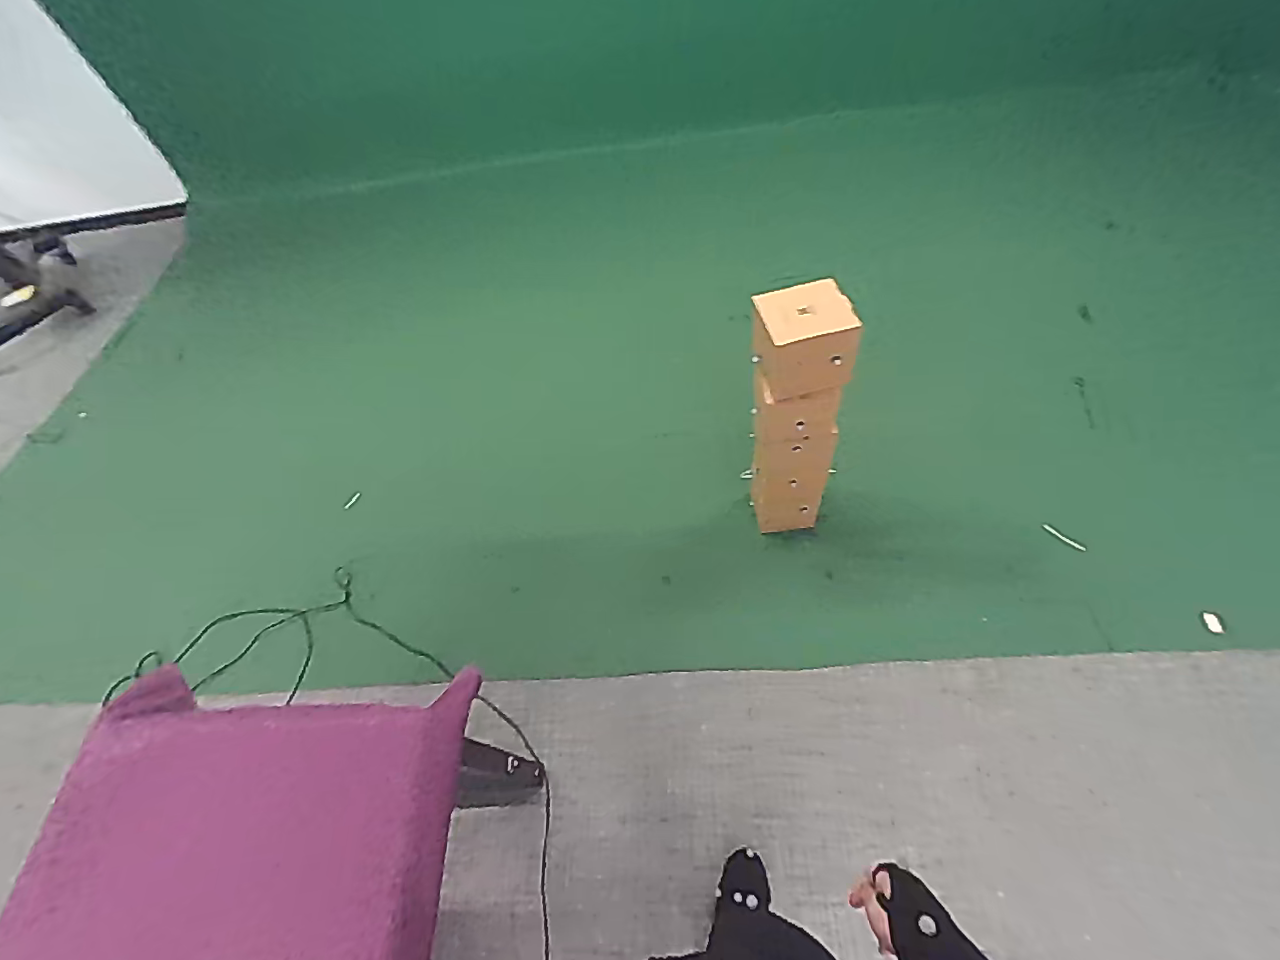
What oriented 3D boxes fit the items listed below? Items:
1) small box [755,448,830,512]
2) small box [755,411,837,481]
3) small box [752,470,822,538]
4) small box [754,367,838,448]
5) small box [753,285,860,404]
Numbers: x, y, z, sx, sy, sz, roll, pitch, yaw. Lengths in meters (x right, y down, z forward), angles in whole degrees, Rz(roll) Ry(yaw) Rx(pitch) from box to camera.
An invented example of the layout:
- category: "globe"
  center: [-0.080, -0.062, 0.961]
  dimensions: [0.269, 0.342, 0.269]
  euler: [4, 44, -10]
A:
- category: "small box"
  center: [0.438, -0.023, 1.586]
  dimensions: [0.179, 0.176, 0.168]
  euler: [-7, 55, 5]
- category: "small box"
  center: [0.410, -0.112, 1.452]
  dimensions: [0.179, 0.176, 0.168]
  euler: [-8, 56, 4]
- category: "small box"
  center: [0.460, 0.067, 1.718]
  dimensions: [0.179, 0.176, 0.168]
  euler: [-8, 55, 4]
- category: "small box"
  center: [0.372, -0.192, 1.313]
  dimensions: [0.168, 0.176, 0.179]
  euler: [-6, 56, 6]
- category: "small box"
  center: [0.352, -0.292, 1.185]
  dimensions: [0.179, 0.176, 0.168]
  euler: [-13, 54, 2]
